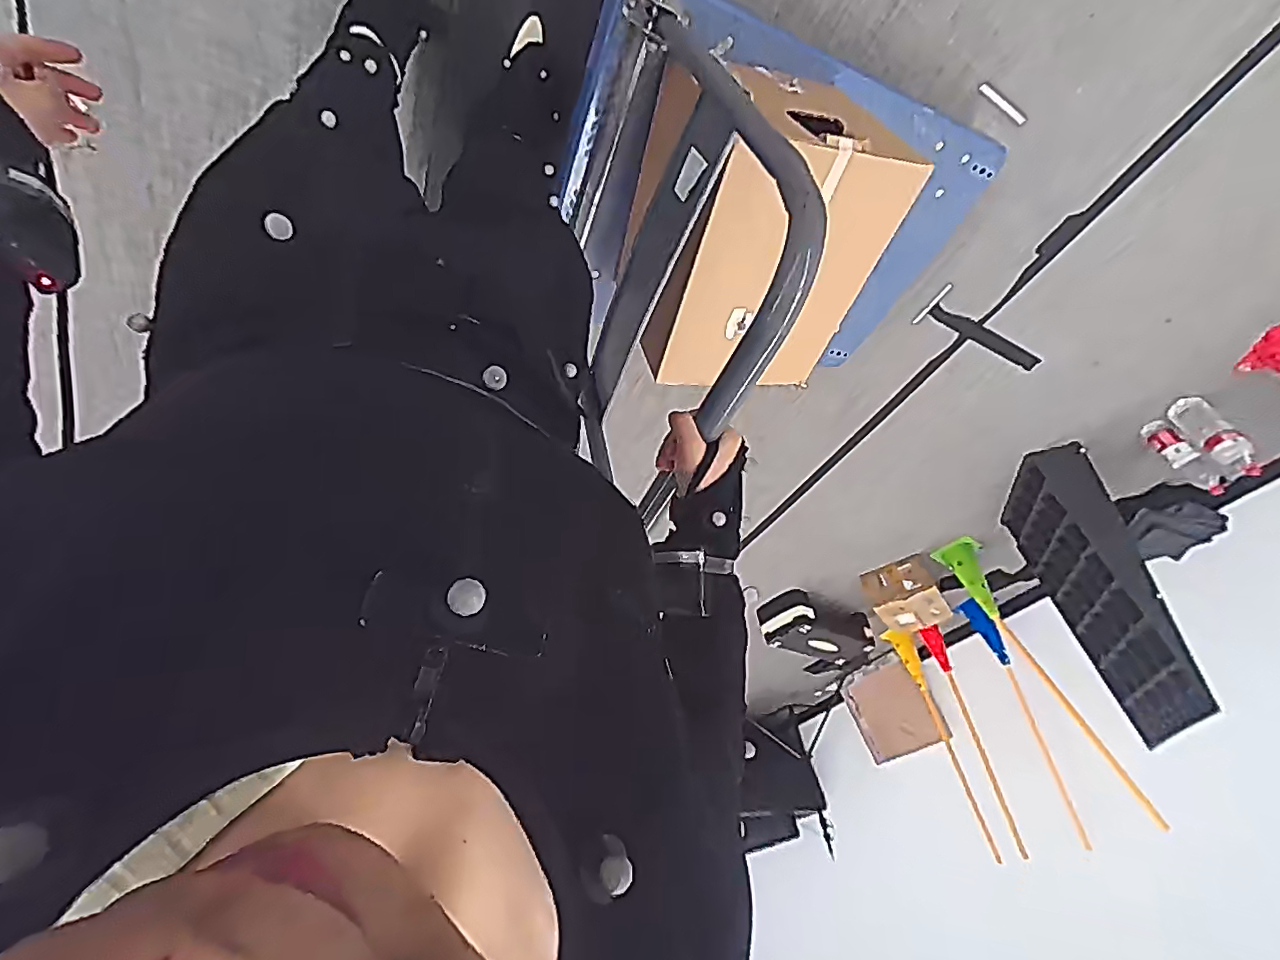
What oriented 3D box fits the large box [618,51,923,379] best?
[{"bbox_3d":[0.175,-0.430,0.933,0.320,0.320,0.408,-3,143,-20],"label":"large box"}]
